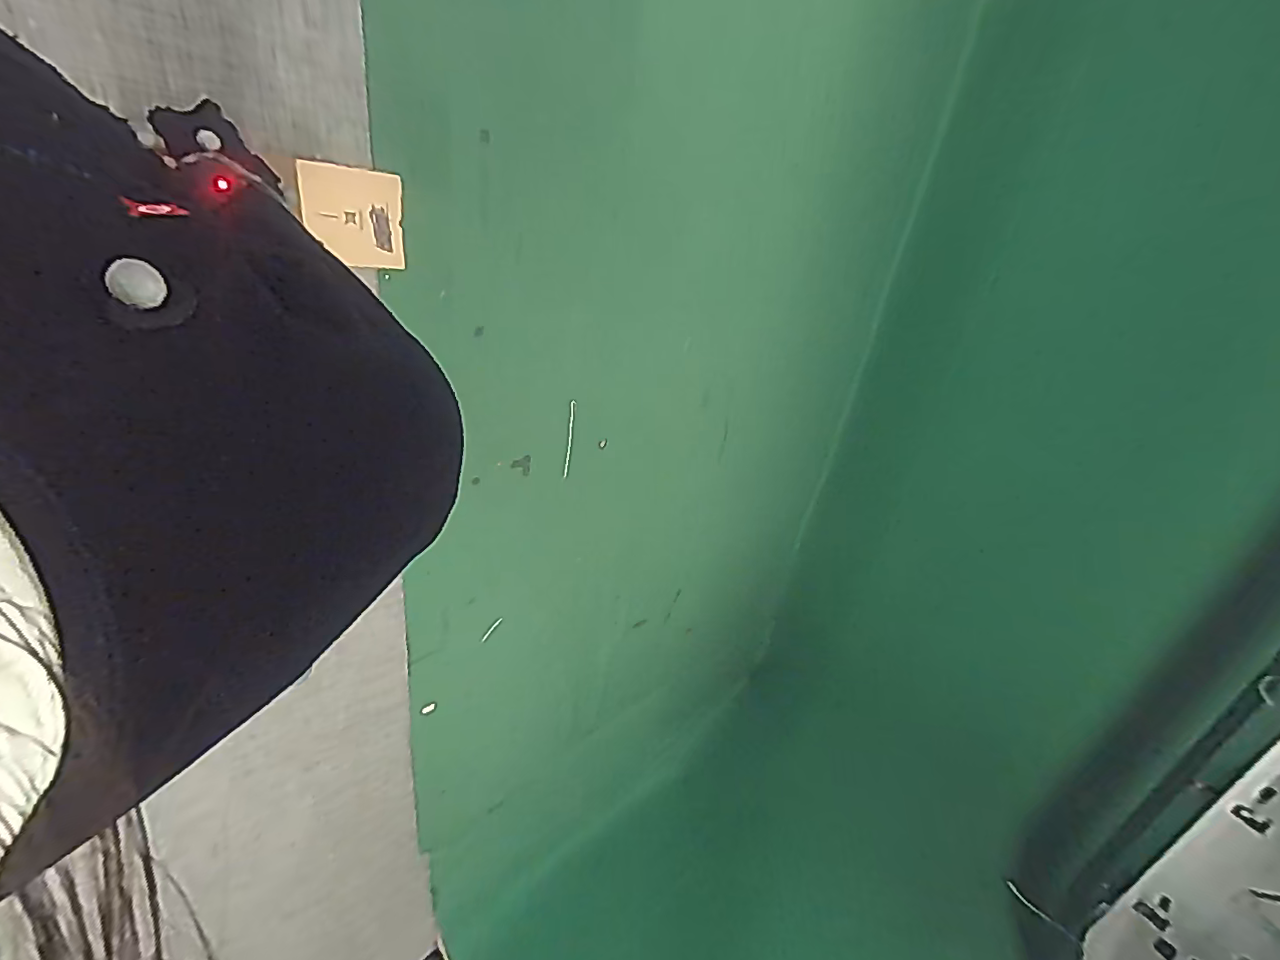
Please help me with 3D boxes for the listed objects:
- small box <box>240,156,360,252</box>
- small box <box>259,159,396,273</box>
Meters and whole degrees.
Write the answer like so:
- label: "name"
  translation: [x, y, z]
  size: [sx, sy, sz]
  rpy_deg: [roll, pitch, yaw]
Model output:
- label: "small box"
  translation: [-0.690, -0.563, 1.118]
  size: [0.179, 0.176, 0.168]
  rpy_deg: [-19, 126, -41]
- label: "small box"
  translation: [-0.582, -0.493, 1.014]
  size: [0.179, 0.176, 0.168]
  rpy_deg: [-16, 124, -43]
